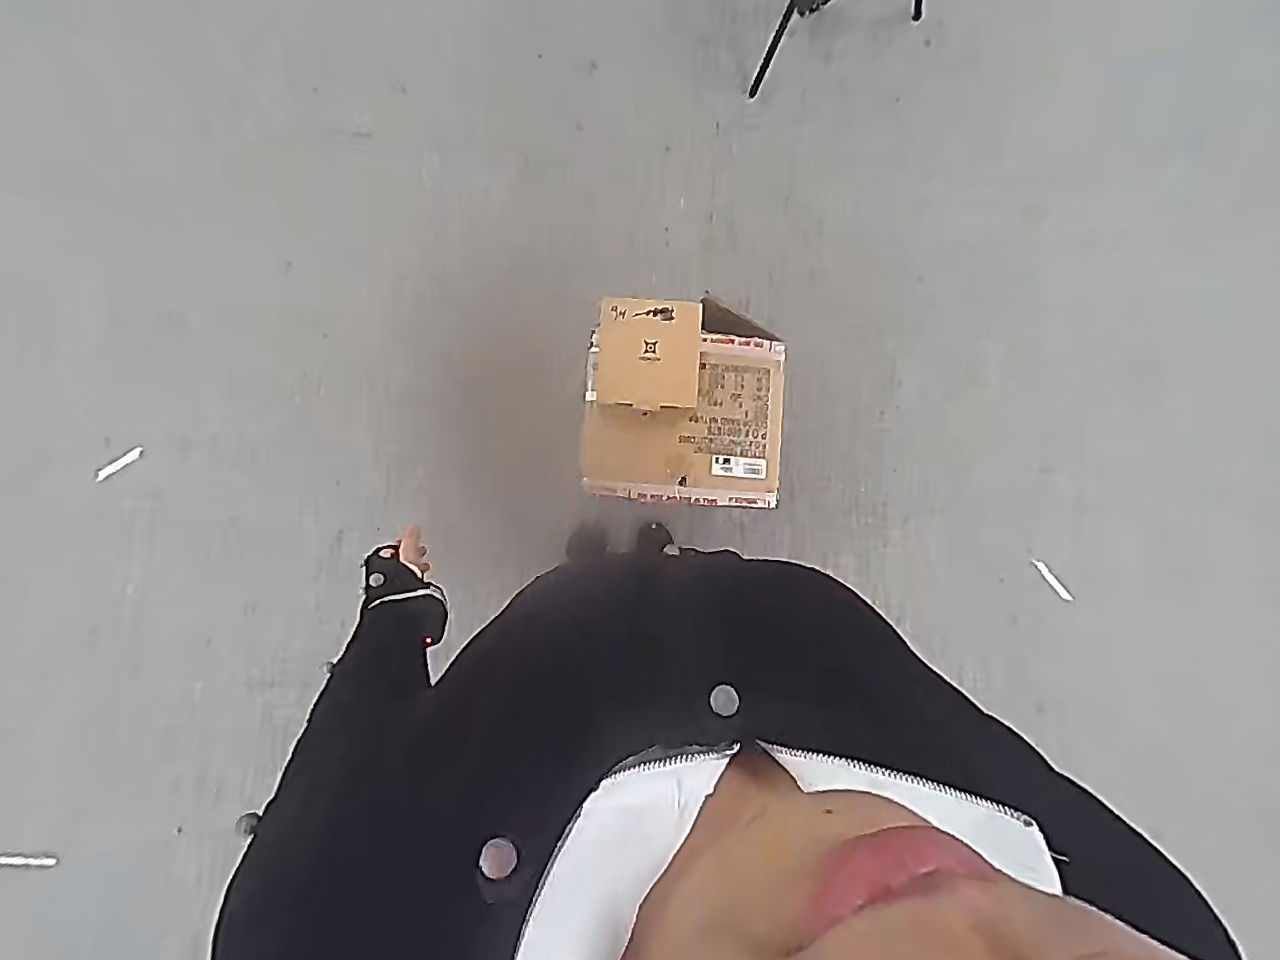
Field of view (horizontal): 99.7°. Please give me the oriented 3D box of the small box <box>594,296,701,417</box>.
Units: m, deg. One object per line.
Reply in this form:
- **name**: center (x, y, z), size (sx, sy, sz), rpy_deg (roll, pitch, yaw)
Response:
- **small box**: center (0.010, -0.207, 0.952), size (0.168, 0.176, 0.179), rpy_deg (3, 91, -3)
